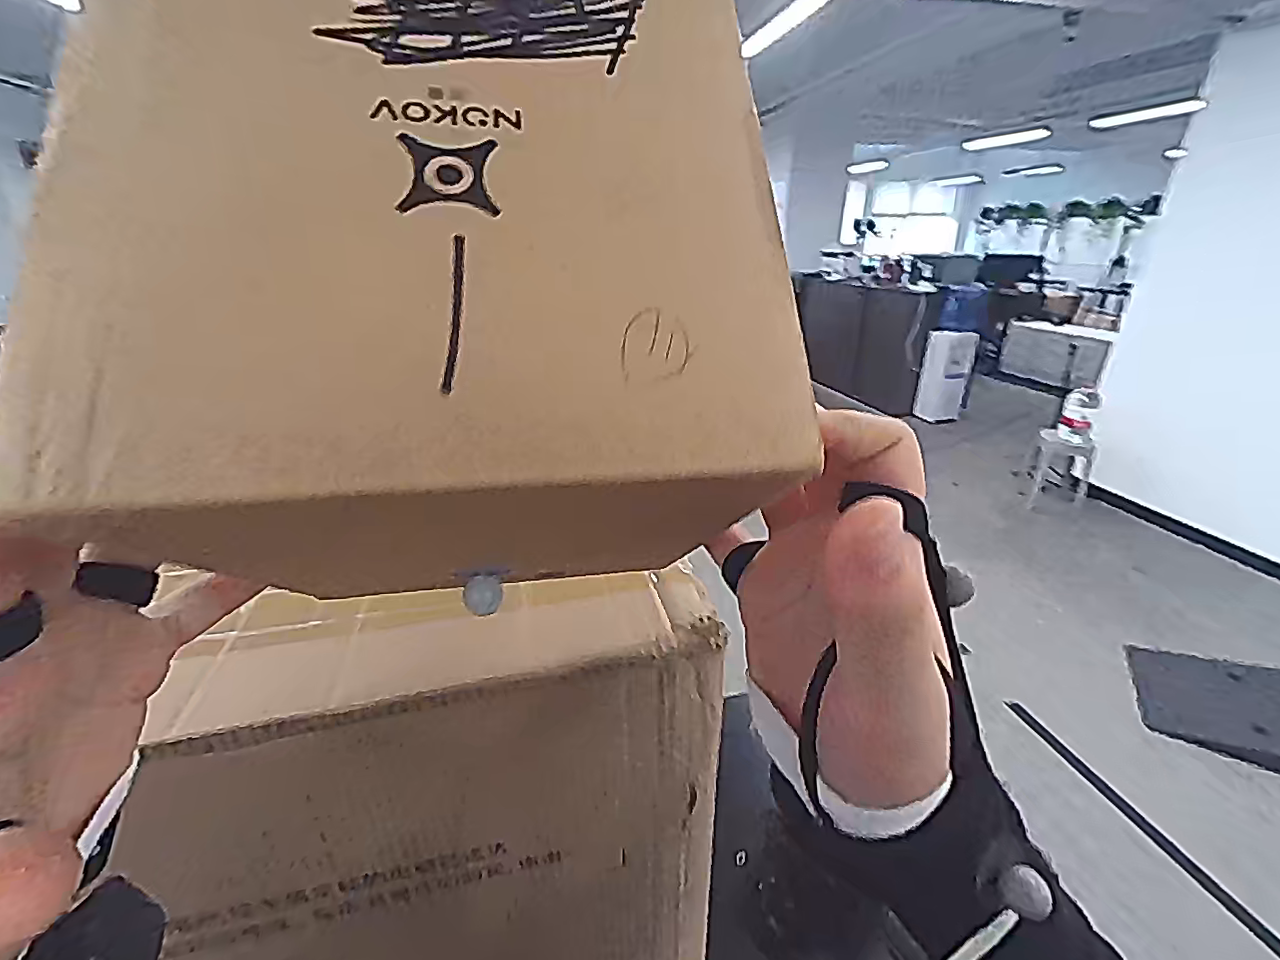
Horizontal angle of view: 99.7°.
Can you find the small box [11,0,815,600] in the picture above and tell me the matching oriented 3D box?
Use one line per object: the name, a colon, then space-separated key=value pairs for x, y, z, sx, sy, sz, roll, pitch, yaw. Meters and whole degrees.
small box: x=-0.059 y=-0.053 z=0.214 sx=0.168 sy=0.179 sz=0.176 roll=-3 pitch=-15 yaw=-11
